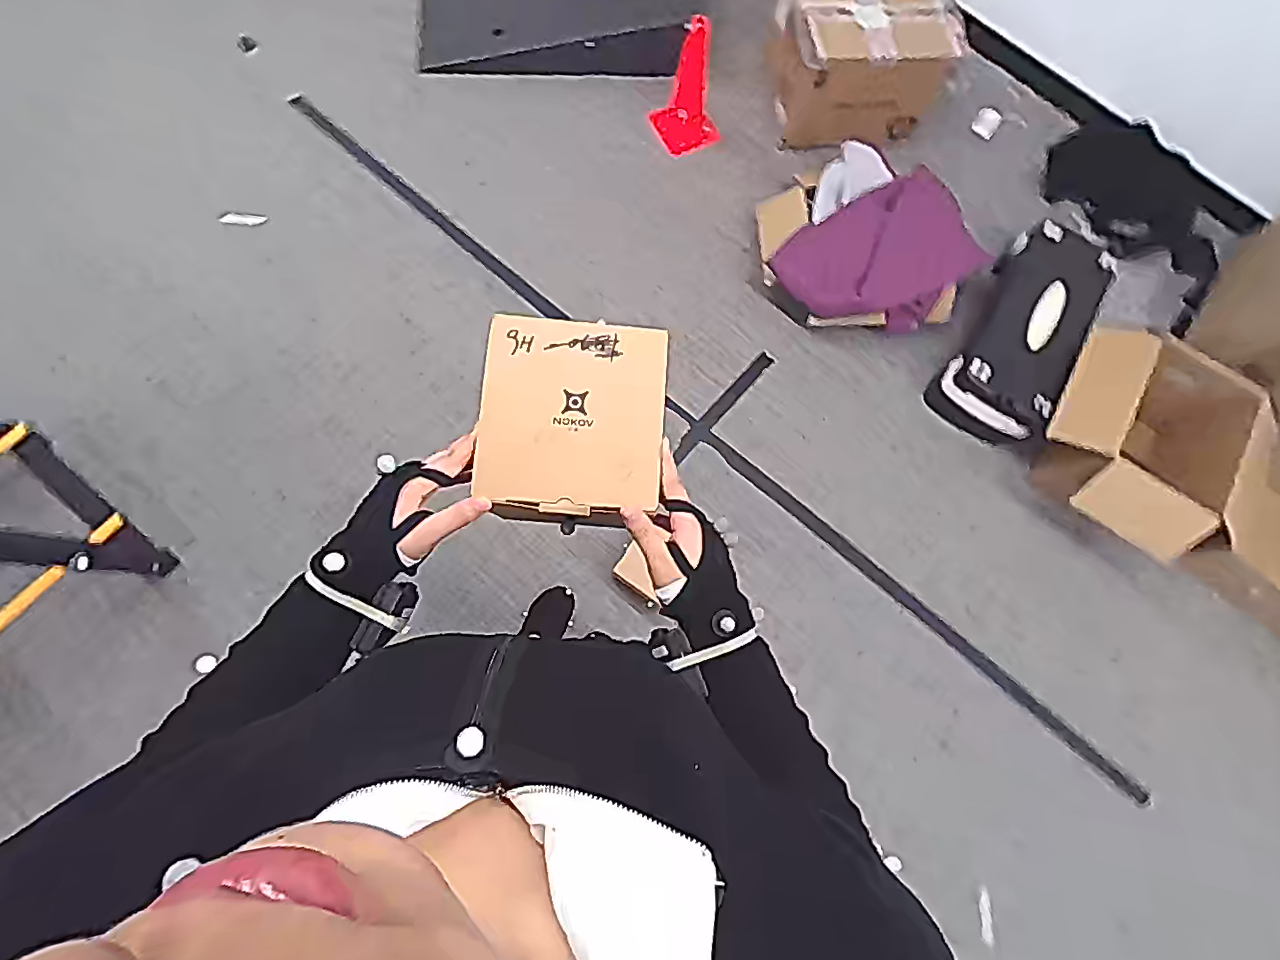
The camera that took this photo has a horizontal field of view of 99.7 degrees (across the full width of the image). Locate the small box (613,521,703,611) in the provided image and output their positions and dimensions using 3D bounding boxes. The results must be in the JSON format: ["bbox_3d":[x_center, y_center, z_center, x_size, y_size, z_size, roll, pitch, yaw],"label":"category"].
[{"bbox_3d":[0.042,0.232,1.452,0.179,0.176,0.168,35,77,4],"label":"small box"}]

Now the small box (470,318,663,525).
[{"bbox_3d":[-0.069,-0.047,0.566,0.168,0.176,0.179,3,81,-4],"label":"small box"}]
